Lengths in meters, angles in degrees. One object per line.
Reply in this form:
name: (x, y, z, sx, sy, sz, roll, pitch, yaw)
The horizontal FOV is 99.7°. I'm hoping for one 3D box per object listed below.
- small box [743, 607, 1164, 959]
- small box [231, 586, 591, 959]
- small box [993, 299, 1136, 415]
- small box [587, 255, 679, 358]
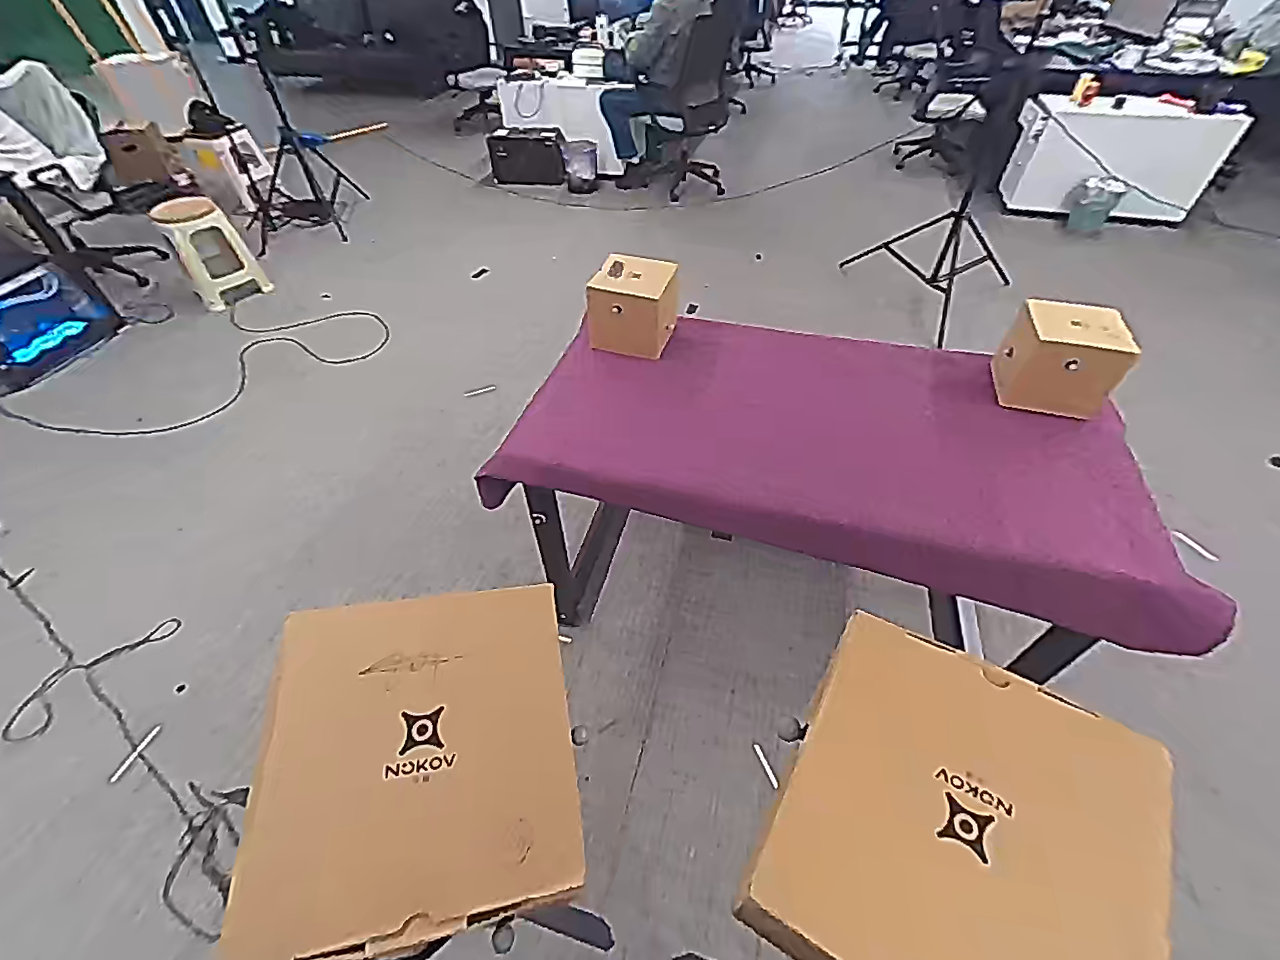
small box: (0.172, 0.220, 0.335, 0.168, 0.176, 0.179, 22, 53, 23)
small box: (-0.131, 0.196, 0.365, 0.168, 0.176, 0.179, -4, 51, -16)
small box: (0.879, -0.259, 1.146, 0.179, 0.176, 0.168, 12, 49, 11)
small box: (-0.015, -0.419, 1.314, 0.179, 0.176, 0.168, 14, 51, 12)
